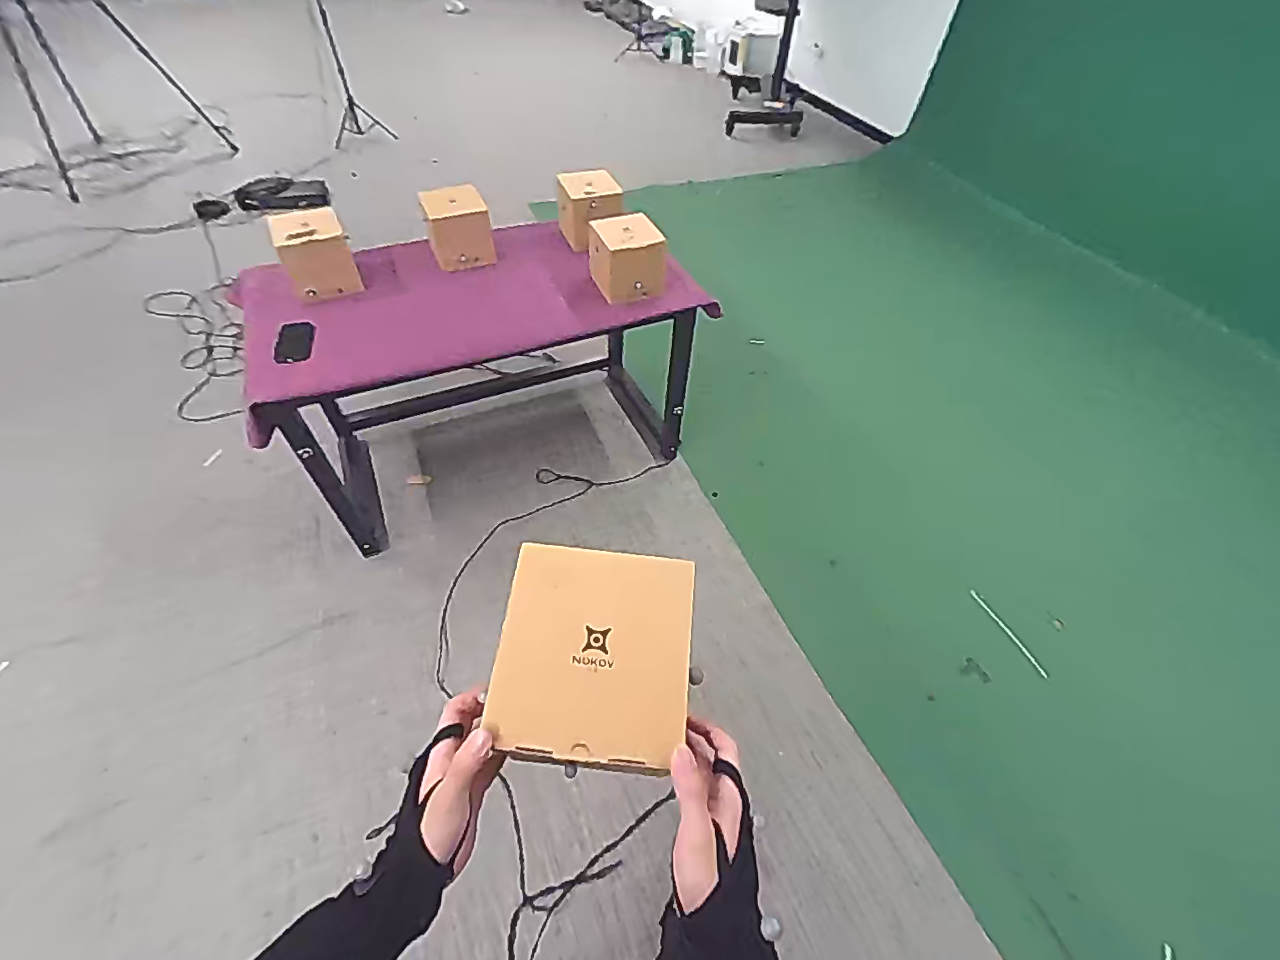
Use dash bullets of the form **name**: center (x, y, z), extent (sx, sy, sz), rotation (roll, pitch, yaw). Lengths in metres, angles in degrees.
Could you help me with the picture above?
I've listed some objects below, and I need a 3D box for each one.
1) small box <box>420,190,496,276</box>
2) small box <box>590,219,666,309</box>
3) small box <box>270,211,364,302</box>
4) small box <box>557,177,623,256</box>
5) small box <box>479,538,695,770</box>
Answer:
- **small box**: center (-0.542, -0.739, 1.621), extent (0.168, 0.176, 0.179), rotation (-19, 55, -17)
- **small box**: center (-0.039, -0.616, 1.545), extent (0.168, 0.176, 0.179), rotation (-16, 53, -15)
- **small box**: center (-0.882, -0.607, 1.485), extent (0.168, 0.176, 0.179), rotation (-21, 54, -20)
- **small box**: center (-0.160, -0.843, 1.730), extent (0.168, 0.176, 0.179), rotation (-16, 53, -15)
- **small box**: center (-0.044, 0.177, 0.534), extent (0.168, 0.176, 0.179), rotation (7, 61, 0)
